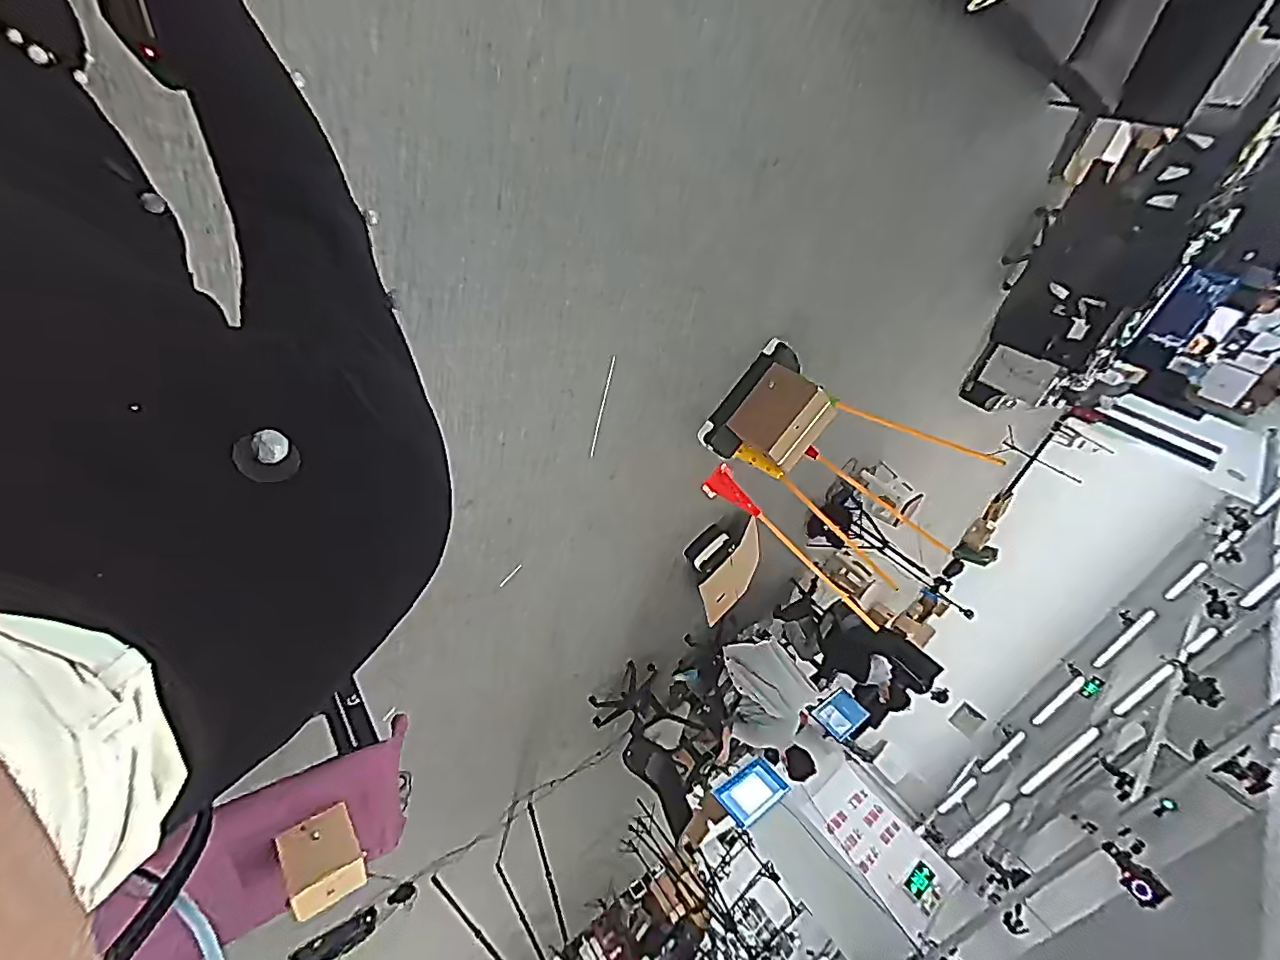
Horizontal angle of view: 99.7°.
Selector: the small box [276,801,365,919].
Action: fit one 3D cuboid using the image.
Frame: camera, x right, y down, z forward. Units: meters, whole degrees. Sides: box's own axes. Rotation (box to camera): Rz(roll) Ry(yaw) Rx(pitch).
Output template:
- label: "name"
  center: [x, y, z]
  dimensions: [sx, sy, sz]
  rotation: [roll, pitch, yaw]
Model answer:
- label: "small box"
  center: [-0.852, 1.009, 1.447]
  dimensions: [0.168, 0.176, 0.179]
  rotation: [-16, 134, -38]
